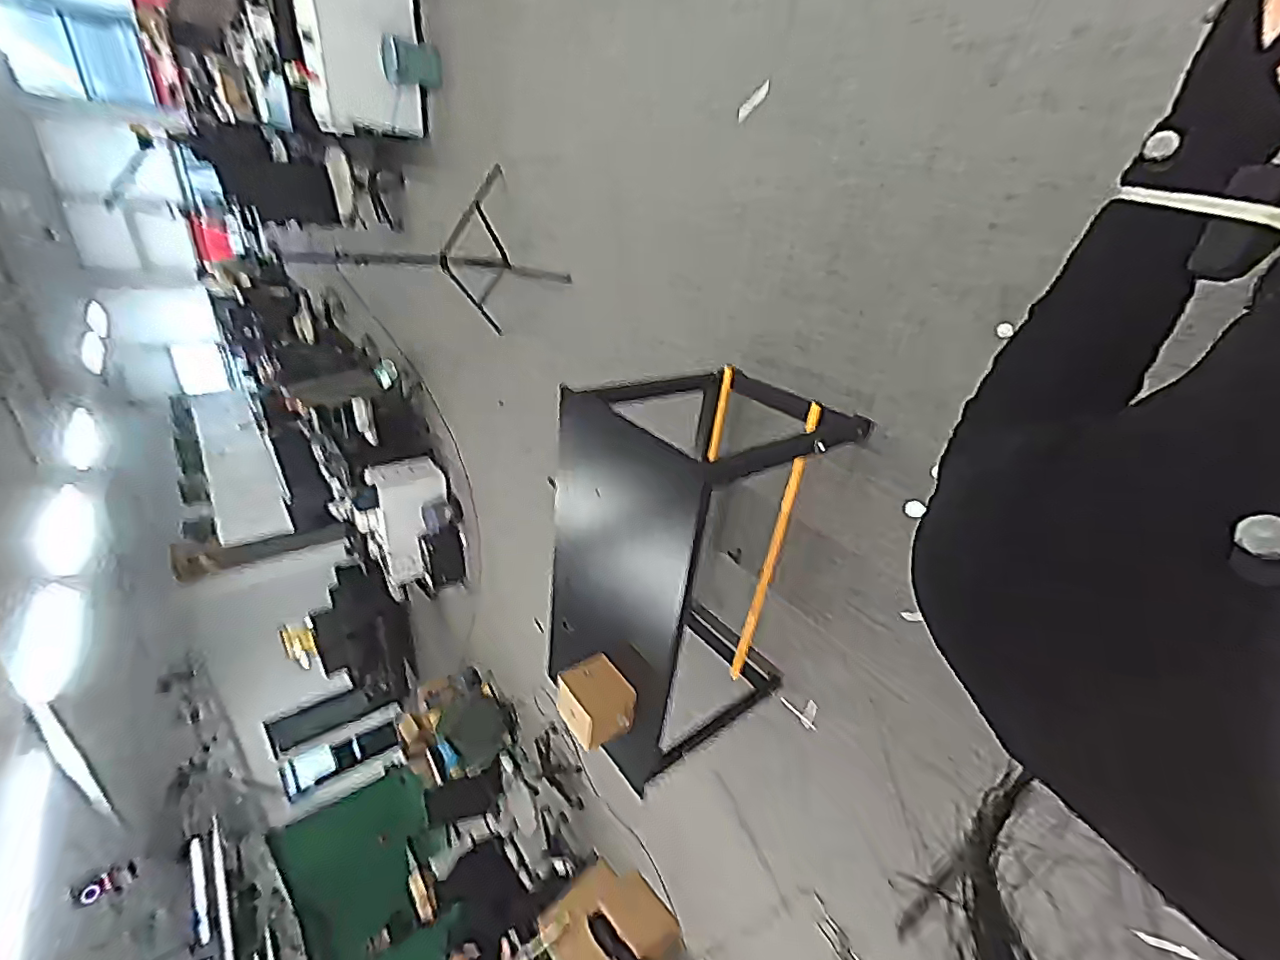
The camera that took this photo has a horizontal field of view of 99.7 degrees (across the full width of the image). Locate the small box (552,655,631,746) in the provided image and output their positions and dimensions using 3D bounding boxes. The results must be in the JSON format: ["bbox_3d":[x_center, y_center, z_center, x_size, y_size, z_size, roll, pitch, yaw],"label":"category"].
[{"bbox_3d":[-0.151,0.667,1.664,0.179,0.176,0.168,36,131,40],"label":"small box"}]
